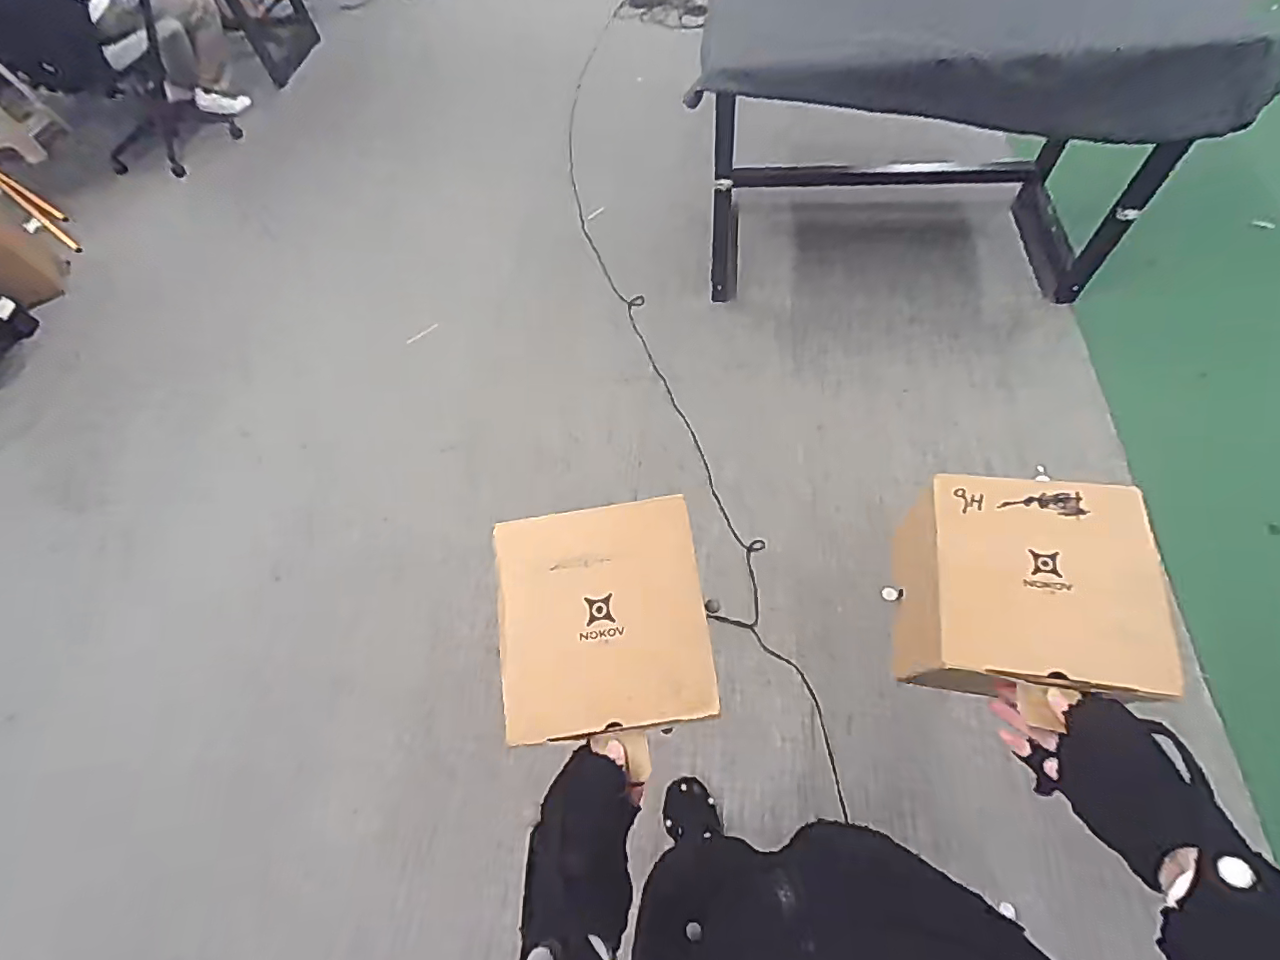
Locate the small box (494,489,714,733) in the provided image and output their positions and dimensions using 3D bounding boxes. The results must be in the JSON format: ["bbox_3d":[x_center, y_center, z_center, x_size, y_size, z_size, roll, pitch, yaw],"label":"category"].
[{"bbox_3d":[-0.028,0.123,0.512,0.168,0.176,0.179,-9,72,0],"label":"small box"}]
